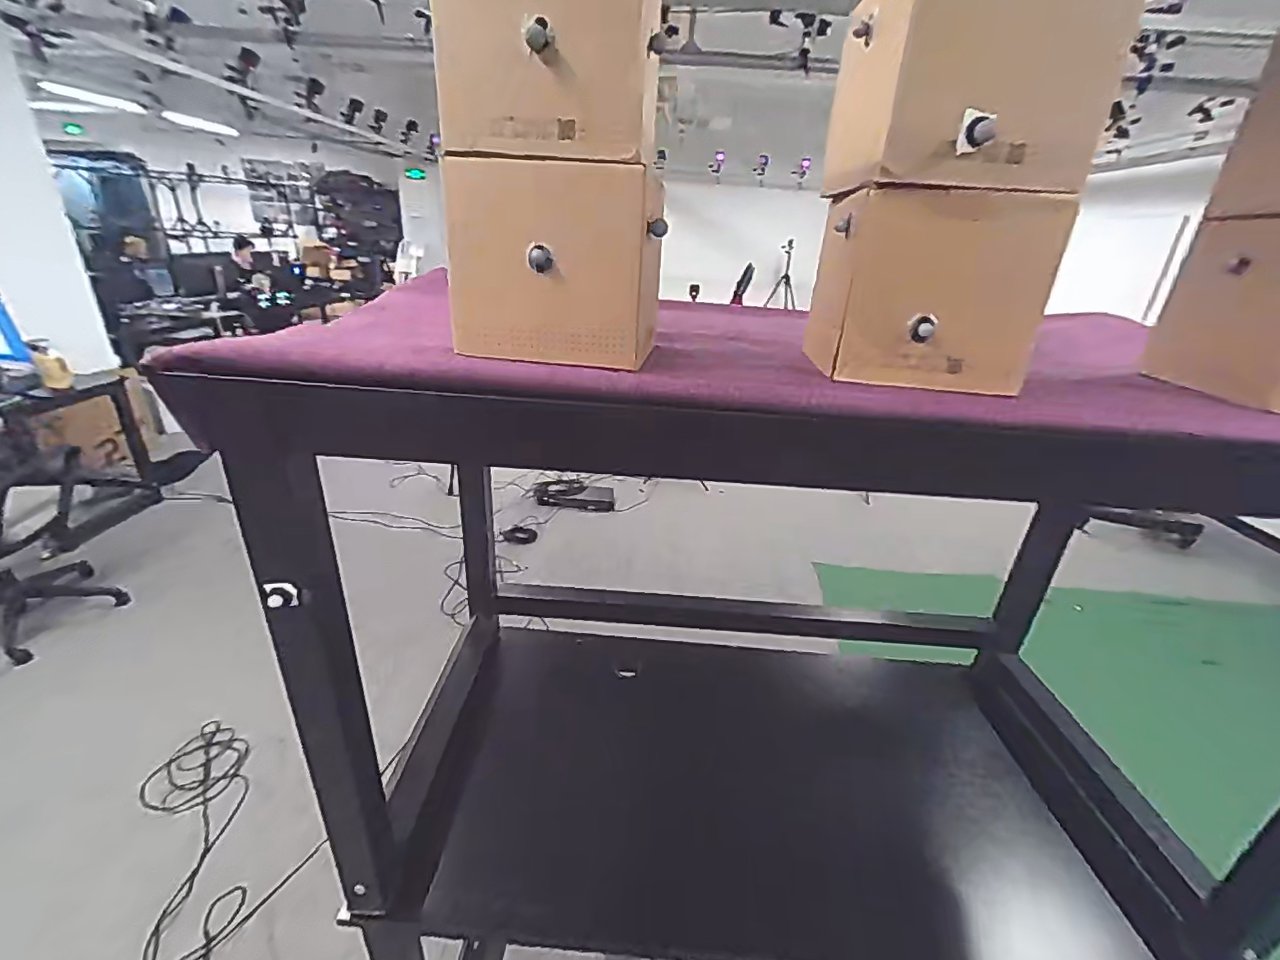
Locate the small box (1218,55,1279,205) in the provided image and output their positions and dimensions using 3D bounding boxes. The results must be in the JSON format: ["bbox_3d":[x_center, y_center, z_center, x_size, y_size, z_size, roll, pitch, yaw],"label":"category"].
[{"bbox_3d":[0.663,-0.319,0.448,0.168,0.176,0.179,5,24,7],"label":"small box"}]

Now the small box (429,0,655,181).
[{"bbox_3d":[-0.073,-0.371,0.482,0.168,0.176,0.179,4,24,2],"label":"small box"}]

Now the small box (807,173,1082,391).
[{"bbox_3d":[0.272,-0.195,0.536,0.168,0.176,0.179,5,24,6],"label":"small box"}]

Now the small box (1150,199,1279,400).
[{"bbox_3d":[0.656,-0.168,0.514,0.168,0.176,0.179,5,25,7],"label":"small box"}]

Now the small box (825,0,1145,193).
[{"bbox_3d":[0.273,-0.342,0.468,0.168,0.176,0.179,2,25,1],"label":"small box"}]
